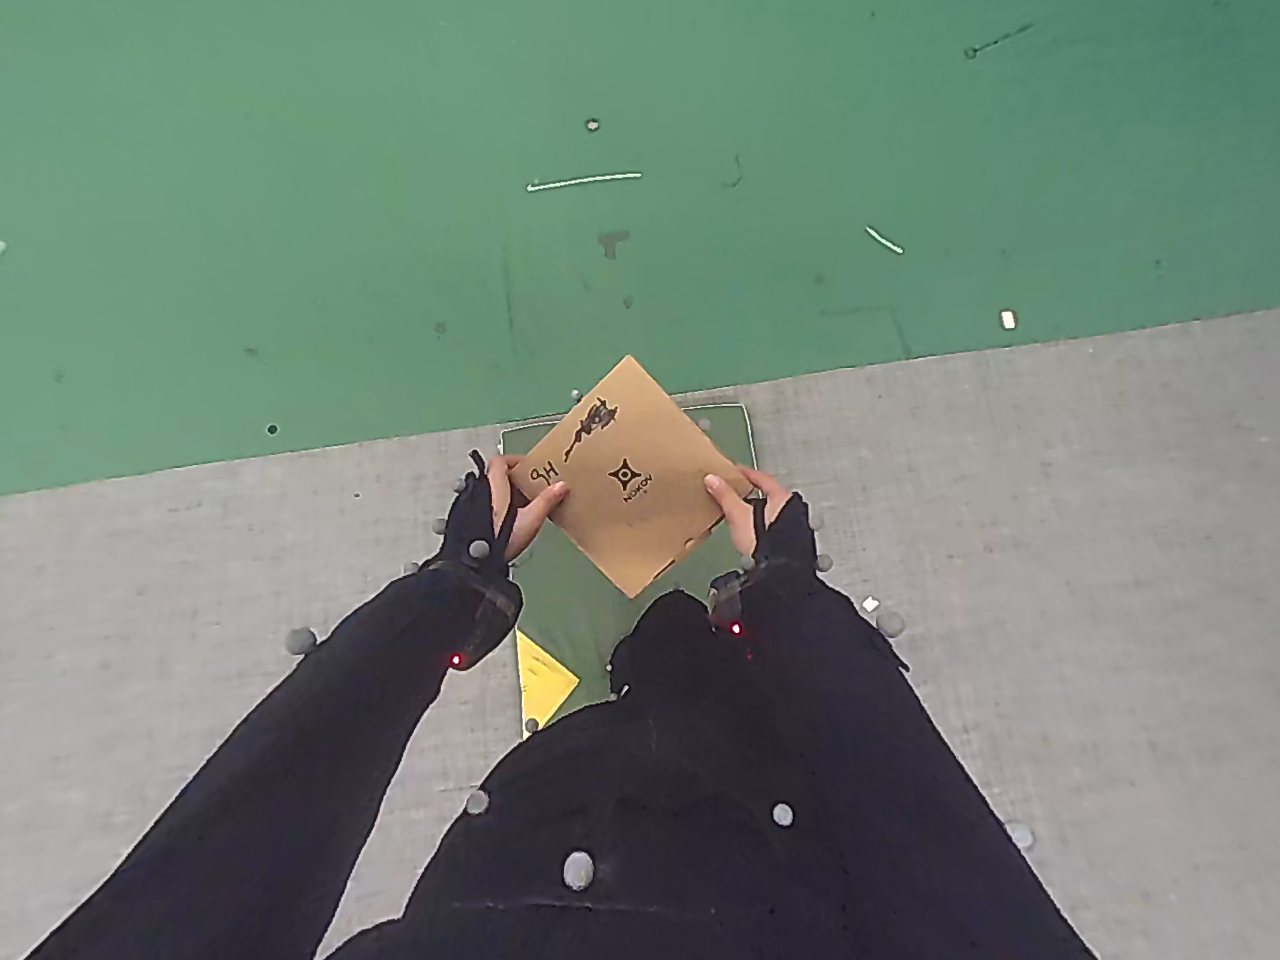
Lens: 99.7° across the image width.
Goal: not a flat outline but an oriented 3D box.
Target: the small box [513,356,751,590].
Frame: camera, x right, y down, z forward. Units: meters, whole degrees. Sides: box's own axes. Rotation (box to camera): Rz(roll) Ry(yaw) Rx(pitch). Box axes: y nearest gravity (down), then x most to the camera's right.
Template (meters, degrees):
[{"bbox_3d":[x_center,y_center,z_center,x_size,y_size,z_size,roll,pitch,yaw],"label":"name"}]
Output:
[{"bbox_3d":[-0.006,-0.016,0.601,0.168,0.176,0.179,-43,95,6],"label":"small box"}]
